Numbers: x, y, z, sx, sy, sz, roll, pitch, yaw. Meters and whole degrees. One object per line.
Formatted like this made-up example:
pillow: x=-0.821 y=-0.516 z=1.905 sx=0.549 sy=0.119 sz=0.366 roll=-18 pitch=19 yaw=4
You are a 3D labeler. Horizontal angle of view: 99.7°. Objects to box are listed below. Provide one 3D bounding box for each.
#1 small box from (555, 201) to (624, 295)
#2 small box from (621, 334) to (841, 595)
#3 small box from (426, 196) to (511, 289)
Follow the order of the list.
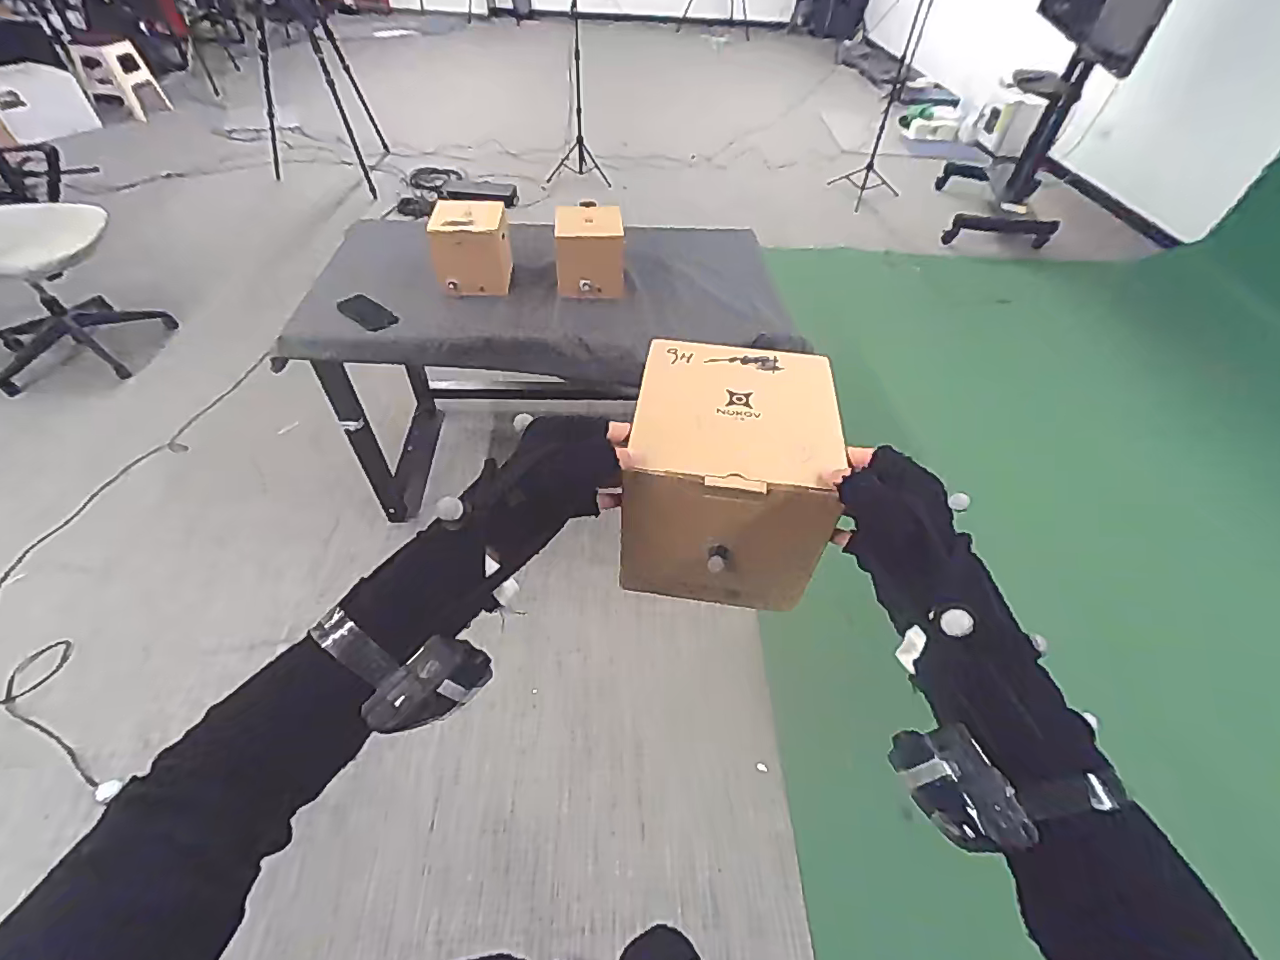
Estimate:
small box: x=-0.129 y=-0.594 z=1.386 sx=0.168 sy=0.176 sz=0.179 roll=-3 pitch=50 yaw=-5
small box: x=0.077 y=-0.012 z=0.512 sx=0.168 sy=0.176 sz=0.179 roll=7 pitch=49 yaw=4
small box: x=-0.424 y=-0.599 z=1.367 sx=0.168 sy=0.176 sz=0.179 roll=-2 pitch=48 yaw=-5
